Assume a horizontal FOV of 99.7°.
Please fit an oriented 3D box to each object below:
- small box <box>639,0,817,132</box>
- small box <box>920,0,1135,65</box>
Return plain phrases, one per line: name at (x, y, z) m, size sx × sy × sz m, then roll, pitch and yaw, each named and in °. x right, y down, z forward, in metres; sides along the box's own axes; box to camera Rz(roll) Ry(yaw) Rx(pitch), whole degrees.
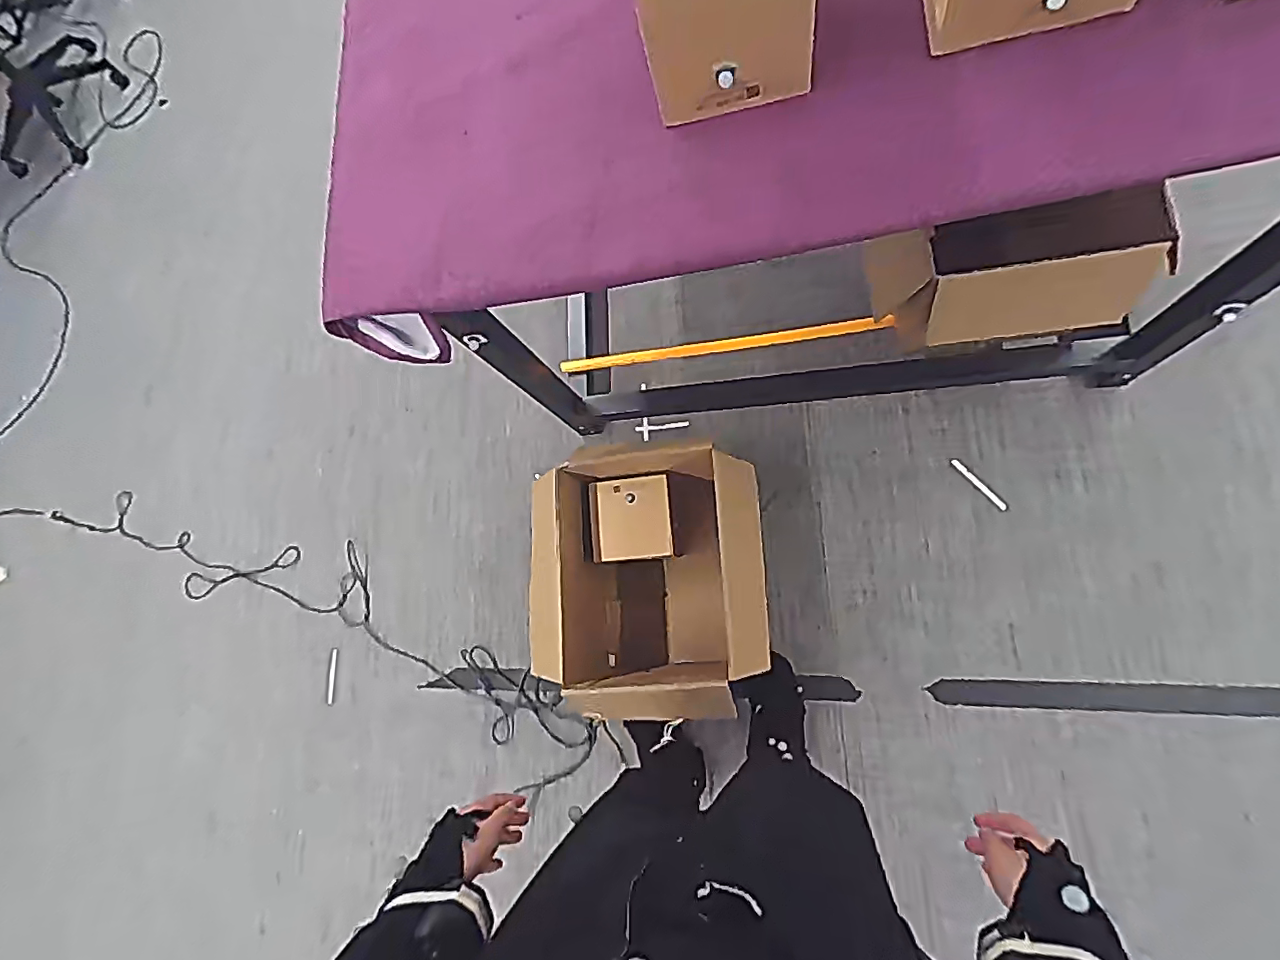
small box at (0.090, -0.514, 0.565) m, size 0.168 × 0.176 × 0.179 m, roll -5°, pitch 77°, yaw 14°
small box at (0.369, -0.539, 0.492) m, size 0.179 × 0.176 × 0.168 m, roll -4°, pitch 76°, yaw 15°
